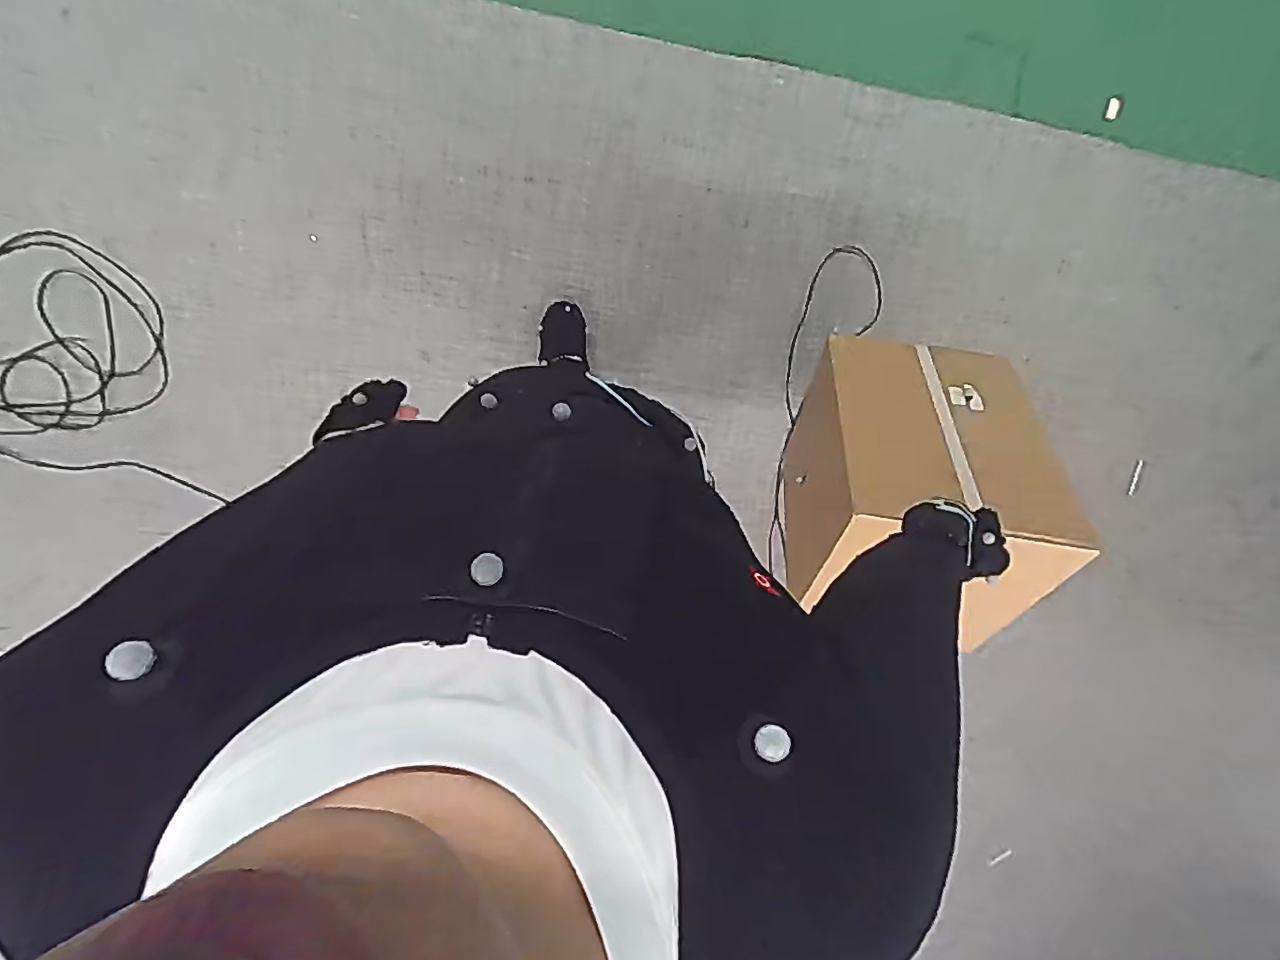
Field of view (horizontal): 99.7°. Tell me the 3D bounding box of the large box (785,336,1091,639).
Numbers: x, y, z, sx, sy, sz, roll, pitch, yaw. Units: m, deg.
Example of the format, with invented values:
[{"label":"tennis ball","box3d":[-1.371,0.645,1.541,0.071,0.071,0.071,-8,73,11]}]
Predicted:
[{"label":"large box","box3d":[0.447,0.010,0.937,0.320,0.408,0.320,10,138,2]}]
